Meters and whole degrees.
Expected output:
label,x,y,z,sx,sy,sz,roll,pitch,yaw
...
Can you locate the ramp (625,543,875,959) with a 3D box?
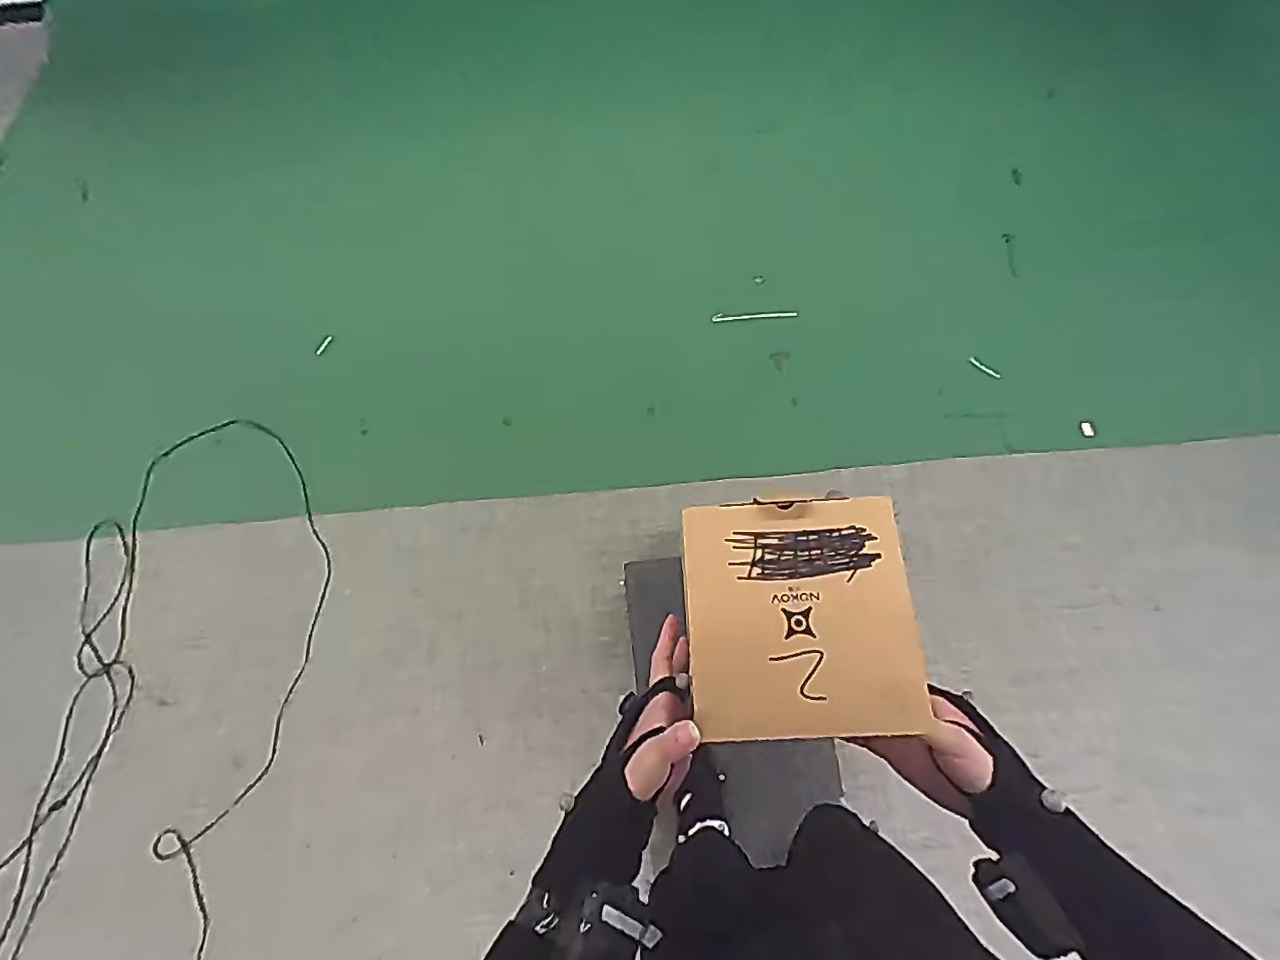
label,x,y,z,sx,sy,sz,roll,pitch,yaw
ramp,0.253,0.676,1.357,0.509,0.206,0.991,-7,67,-2
